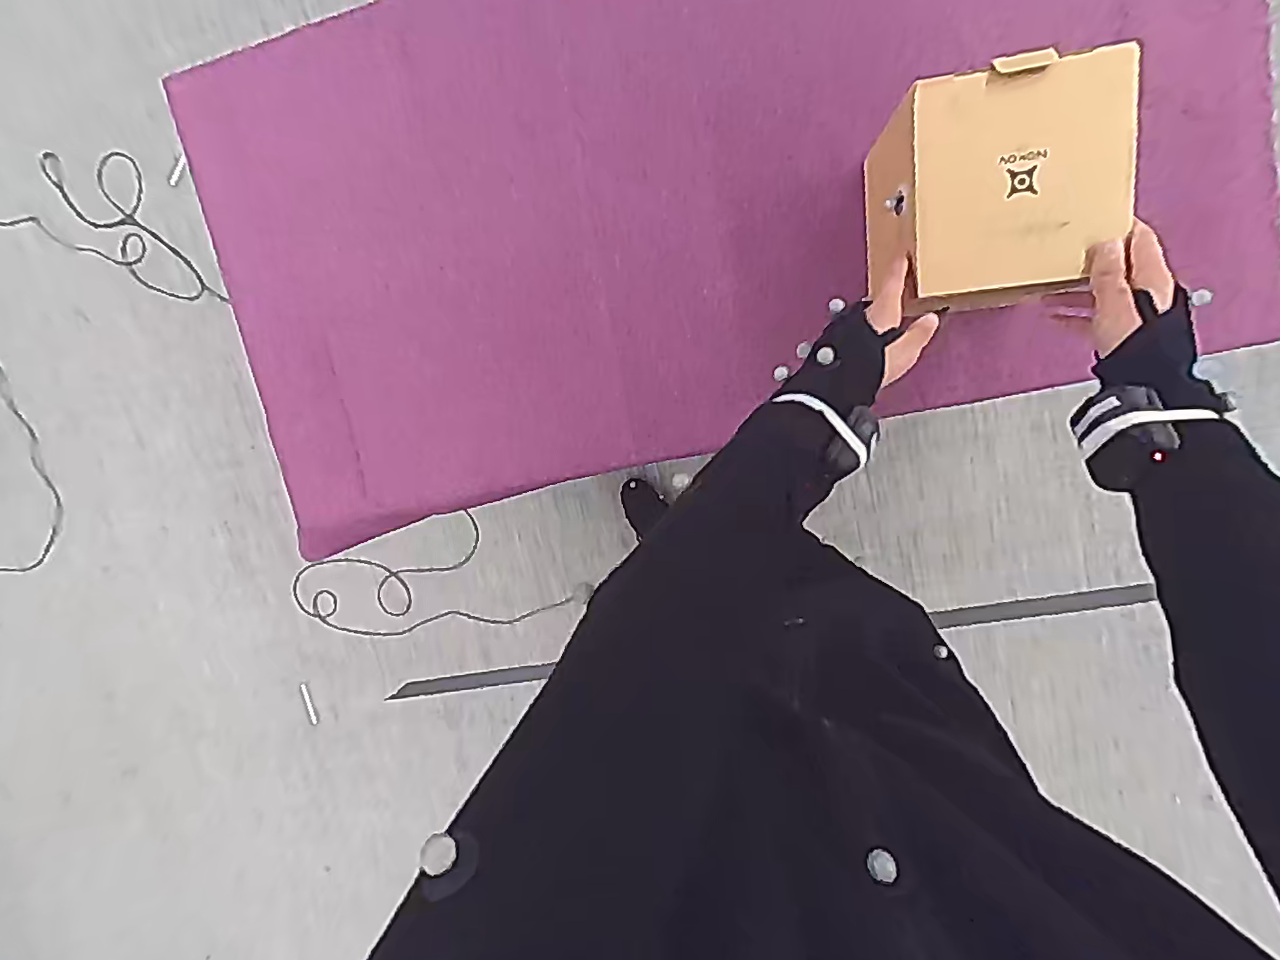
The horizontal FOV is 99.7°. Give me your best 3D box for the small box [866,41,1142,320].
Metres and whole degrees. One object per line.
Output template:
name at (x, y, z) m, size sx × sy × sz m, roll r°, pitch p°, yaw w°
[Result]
small box at (0.321, -0.259, 0.515) m, size 0.168 × 0.176 × 0.179 m, roll -3°, pitch 99°, yaw 10°
